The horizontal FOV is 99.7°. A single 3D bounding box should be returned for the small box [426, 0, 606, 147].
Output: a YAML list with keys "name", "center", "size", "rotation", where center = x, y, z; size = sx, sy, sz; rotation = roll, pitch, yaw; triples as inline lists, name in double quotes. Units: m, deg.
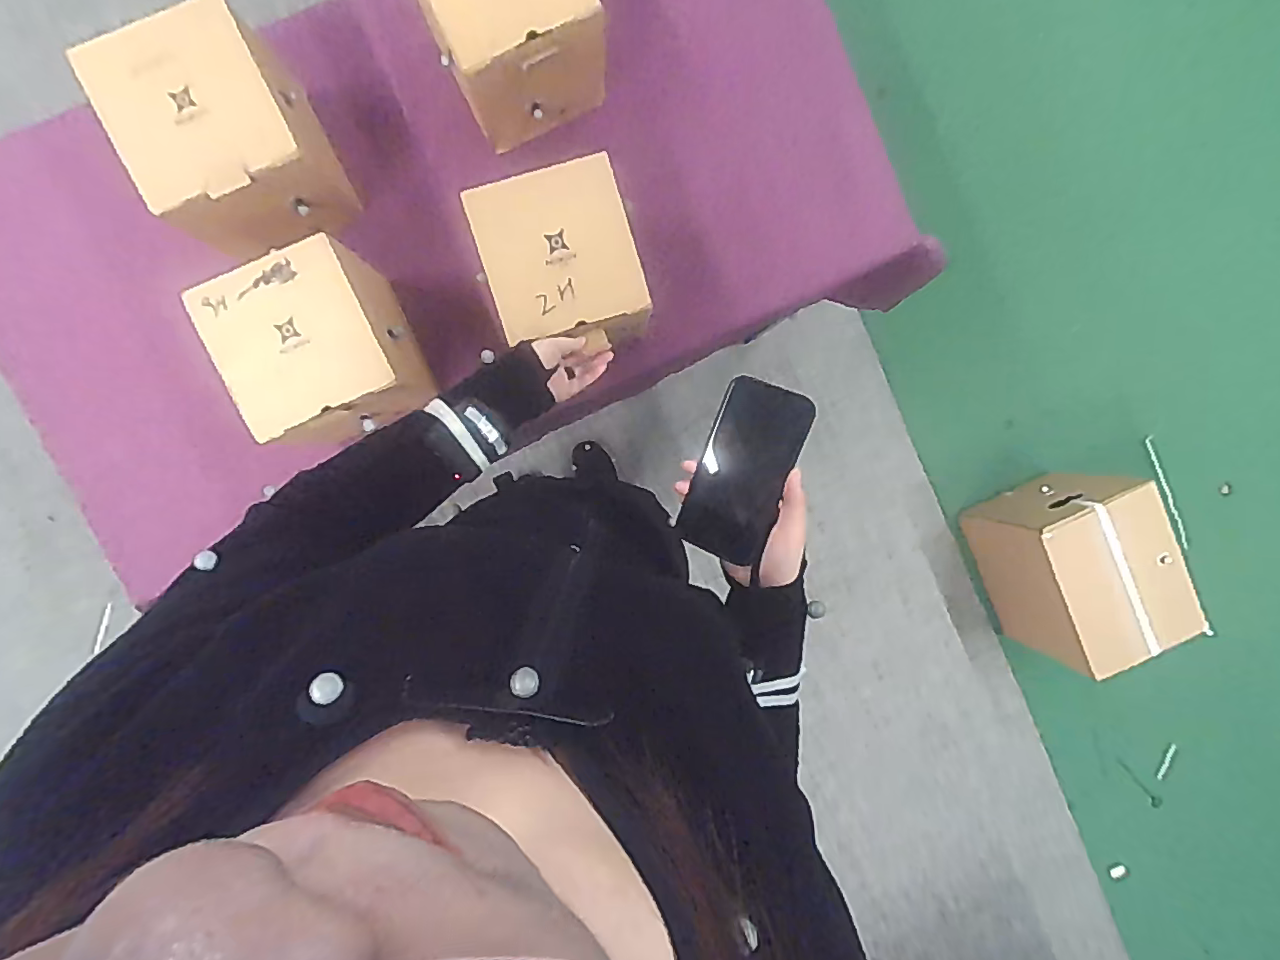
- name: "small box"
  center: [-0.152, -0.548, 0.642]
  size: [0.168, 0.176, 0.179]
  rotation: [-27, 96, -1]

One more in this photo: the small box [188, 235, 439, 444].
- name: "small box"
  center: [-0.371, -0.157, 0.656]
  size: [0.168, 0.176, 0.179]
  rotation: [-25, 96, -2]

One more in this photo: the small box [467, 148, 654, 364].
- name: "small box"
  center: [-0.090, -0.259, 0.665]
  size: [0.168, 0.176, 0.179]
  rotation: [-17, 95, -2]

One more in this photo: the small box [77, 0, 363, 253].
- name: "small box"
  center: [-0.464, -0.390, 0.634]
  size: [0.168, 0.176, 0.179]
  rotation: [-25, 95, -3]
